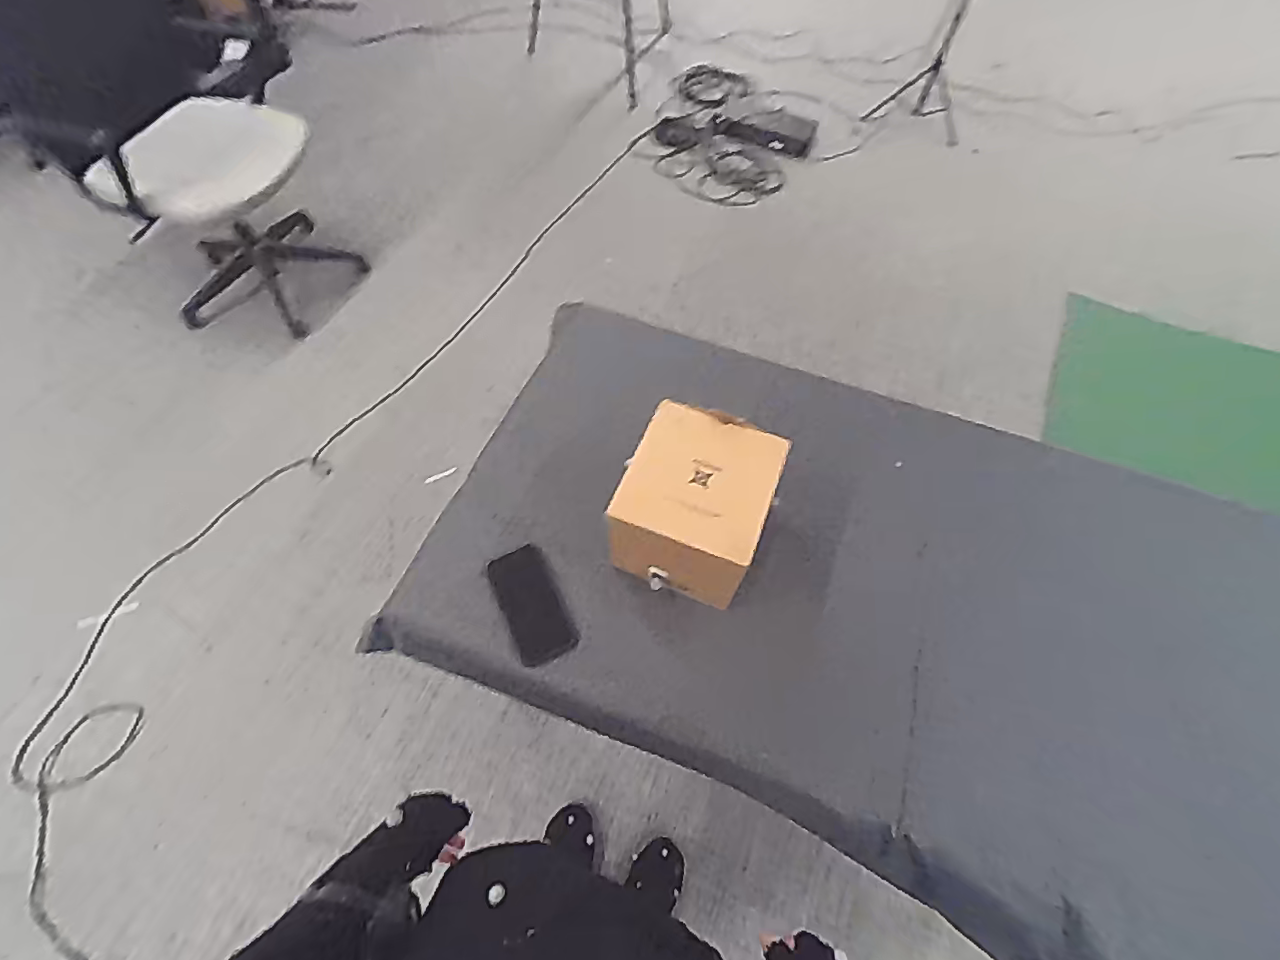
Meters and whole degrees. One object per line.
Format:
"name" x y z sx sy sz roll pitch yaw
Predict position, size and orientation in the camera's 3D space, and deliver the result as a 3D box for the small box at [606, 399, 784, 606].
"small box" 0.065 0.034 0.689 0.168 0.176 0.179 20 63 11
